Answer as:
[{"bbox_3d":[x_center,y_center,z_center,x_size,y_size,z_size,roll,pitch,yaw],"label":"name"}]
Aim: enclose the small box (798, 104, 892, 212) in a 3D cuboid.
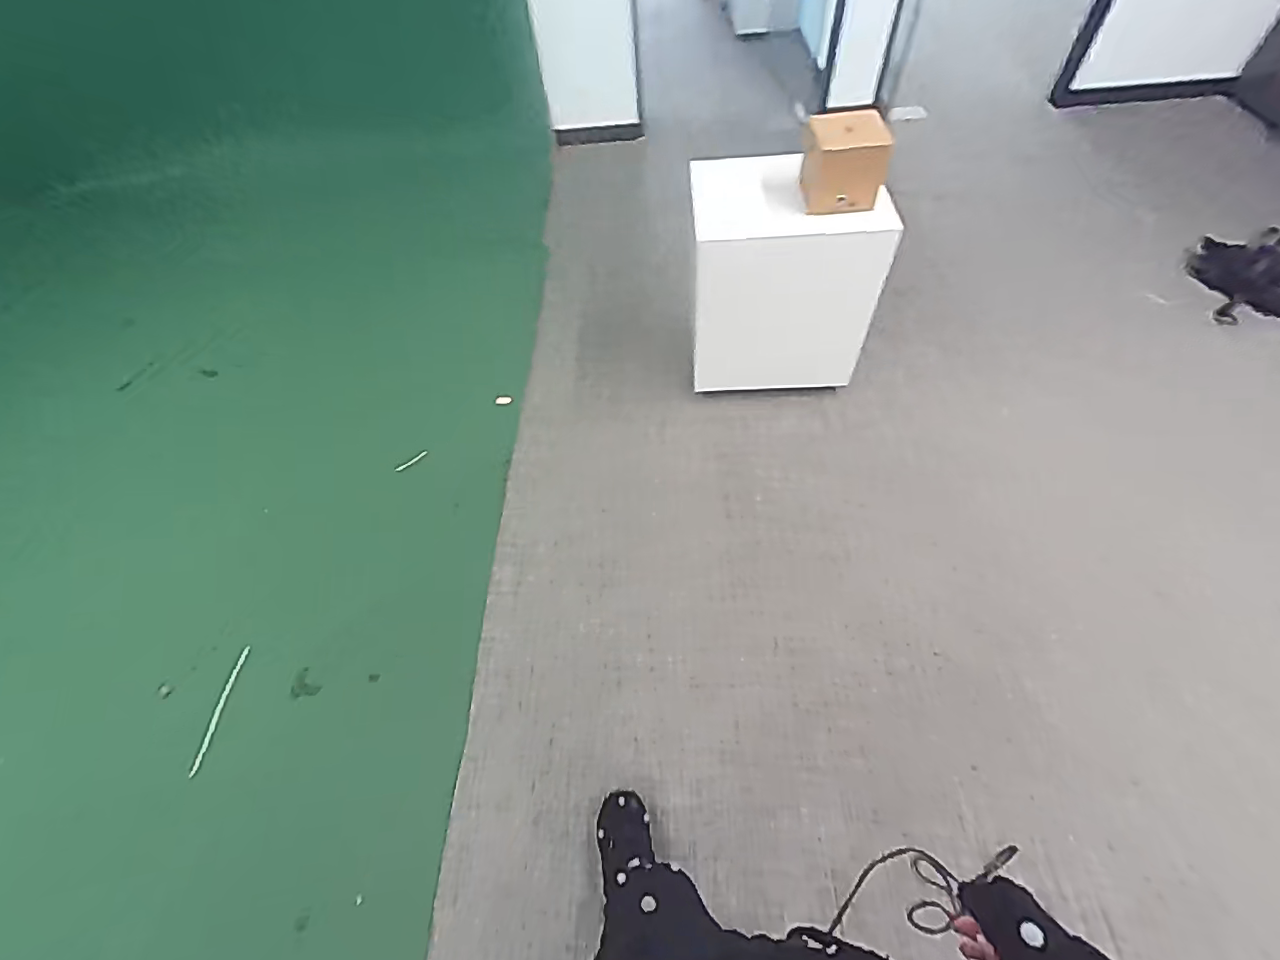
[{"bbox_3d":[0.502,-0.804,1.355,0.168,0.176,0.179,-5,58,4],"label":"small box"}]
